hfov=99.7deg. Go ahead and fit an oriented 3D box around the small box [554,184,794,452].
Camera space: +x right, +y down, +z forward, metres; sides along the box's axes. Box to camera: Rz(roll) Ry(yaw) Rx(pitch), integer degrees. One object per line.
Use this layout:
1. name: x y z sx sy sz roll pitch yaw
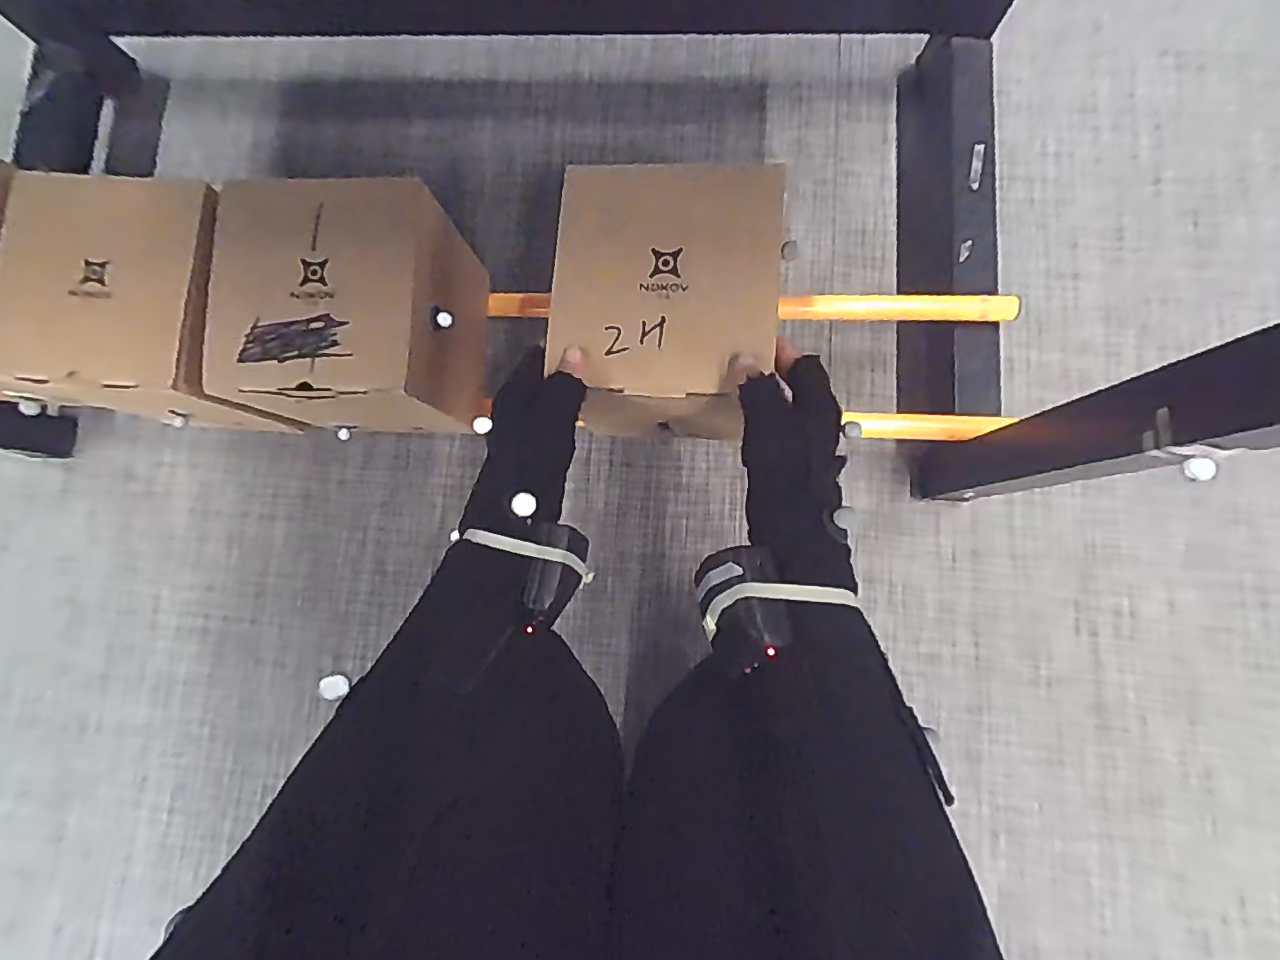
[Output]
1. small box: 0.035 -0.129 0.478 0.168 0.176 0.179 5 86 9
